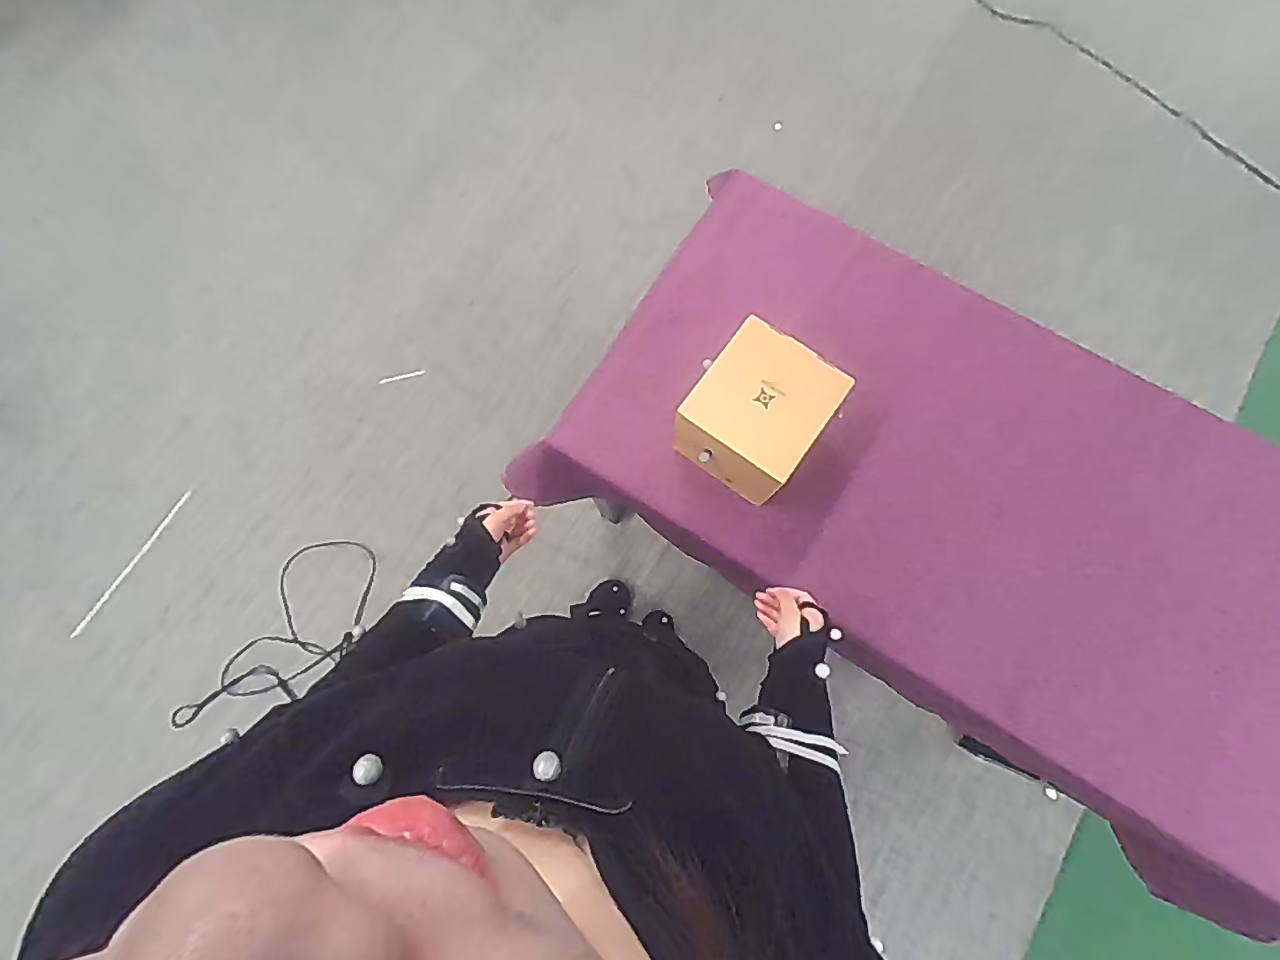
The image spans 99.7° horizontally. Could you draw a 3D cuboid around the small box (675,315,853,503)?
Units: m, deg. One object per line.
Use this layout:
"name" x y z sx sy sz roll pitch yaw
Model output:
"small box" 0.164 -0.089 0.772 0.168 0.176 0.179 36 78 9
